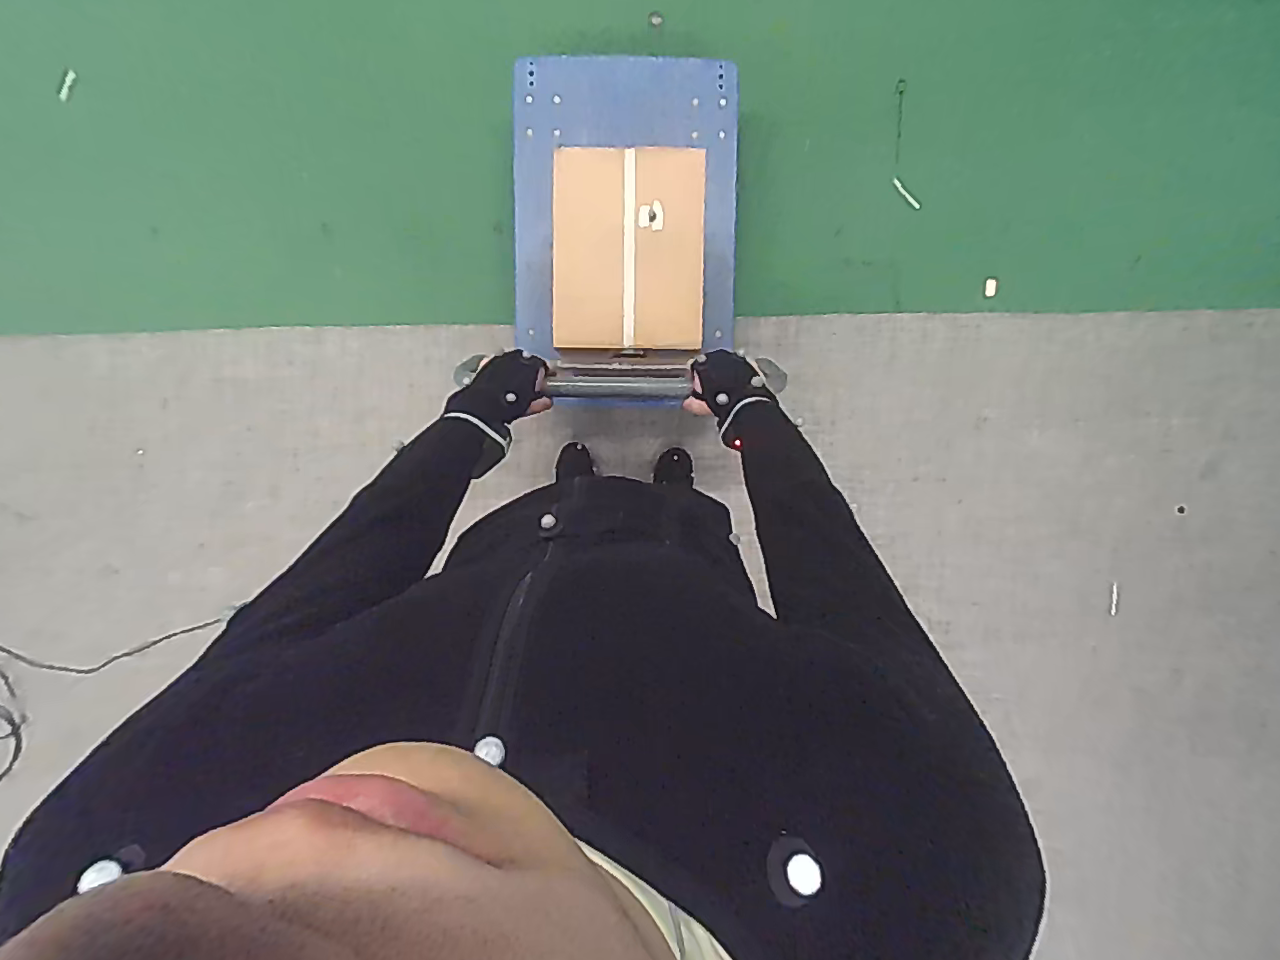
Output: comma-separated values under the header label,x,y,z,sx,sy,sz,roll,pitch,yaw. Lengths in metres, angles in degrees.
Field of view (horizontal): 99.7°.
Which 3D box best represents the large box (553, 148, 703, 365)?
label,x,y,z,sx,sy,sz,roll,pitch,yaw
large box,-0.024,-0.491,1.269,0.320,0.320,0.408,1,95,-1
